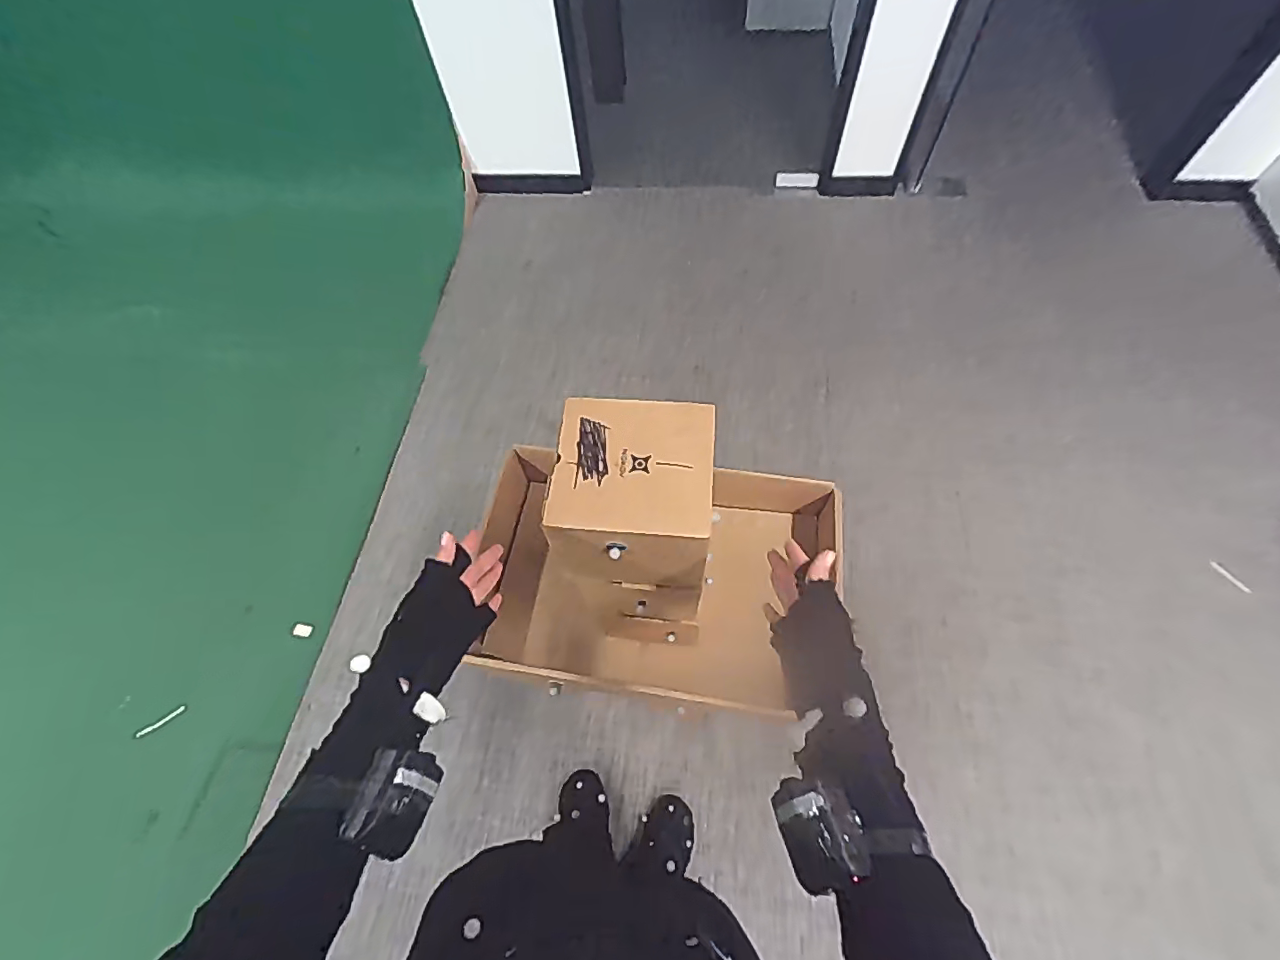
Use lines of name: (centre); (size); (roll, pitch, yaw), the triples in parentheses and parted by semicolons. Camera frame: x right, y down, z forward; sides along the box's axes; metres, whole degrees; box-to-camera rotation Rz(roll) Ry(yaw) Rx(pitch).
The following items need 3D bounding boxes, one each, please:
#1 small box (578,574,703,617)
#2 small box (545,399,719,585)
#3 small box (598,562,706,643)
small box: (0.014, 0.097, 0.805); (0.168, 0.176, 0.179); (5, 63, 6)
small box: (-0.001, 0.021, 0.658); (0.179, 0.176, 0.168); (4, 62, 4)
small box: (0.029, 0.176, 0.947); (0.168, 0.176, 0.179); (5, 61, 5)
